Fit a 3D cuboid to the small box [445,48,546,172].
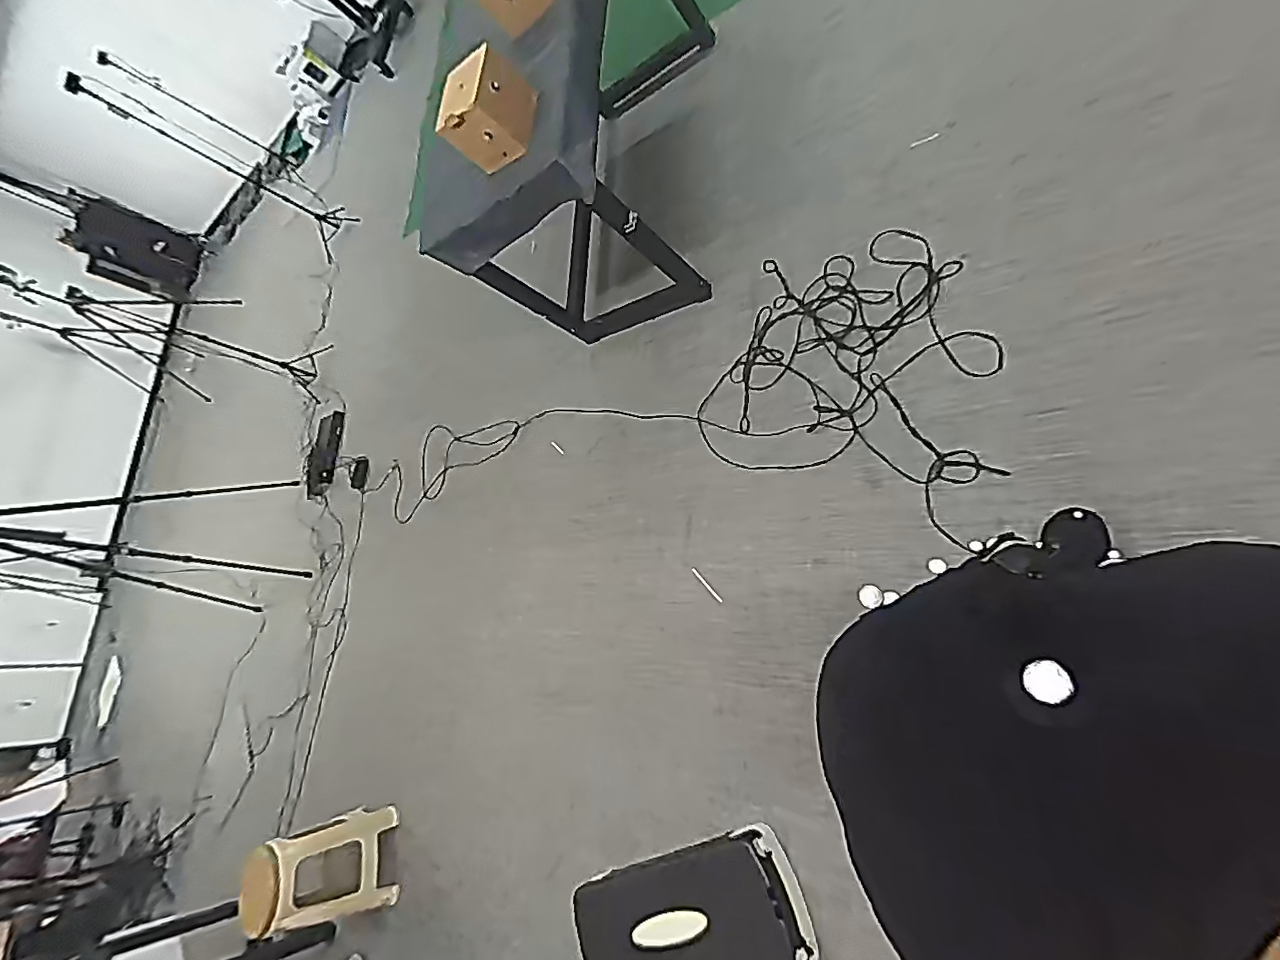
[{"bbox_3d":[-0.361,-0.922,1.372,0.168,0.176,0.179,0,76,39],"label":"small box"}]
